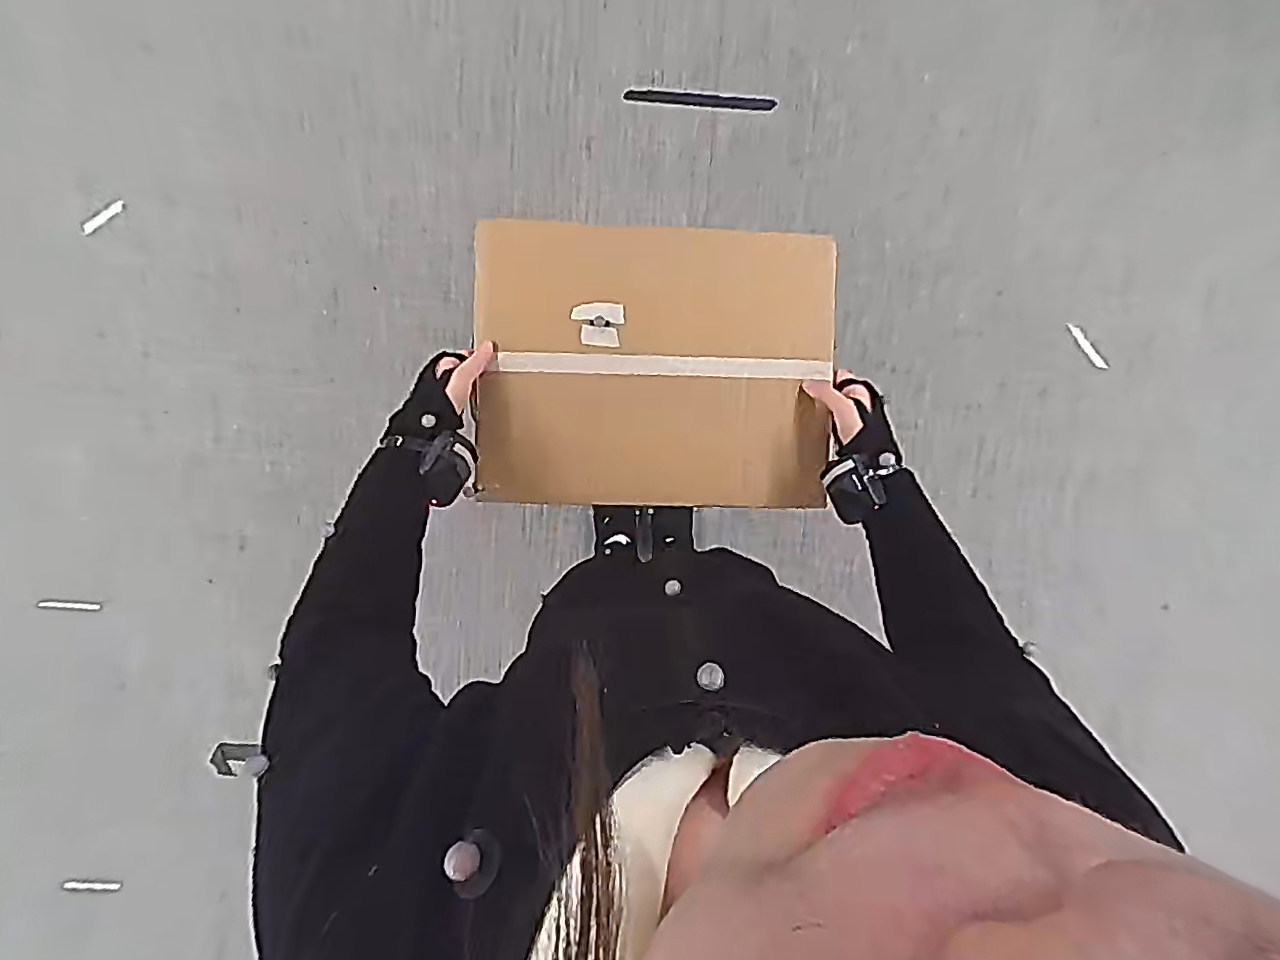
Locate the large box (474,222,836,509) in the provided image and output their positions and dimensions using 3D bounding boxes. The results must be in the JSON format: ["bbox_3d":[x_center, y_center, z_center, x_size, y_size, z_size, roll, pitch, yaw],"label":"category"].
[{"bbox_3d":[0.014,-0.133,0.745,0.408,0.320,0.320,1,92,-3],"label":"large box"}]
